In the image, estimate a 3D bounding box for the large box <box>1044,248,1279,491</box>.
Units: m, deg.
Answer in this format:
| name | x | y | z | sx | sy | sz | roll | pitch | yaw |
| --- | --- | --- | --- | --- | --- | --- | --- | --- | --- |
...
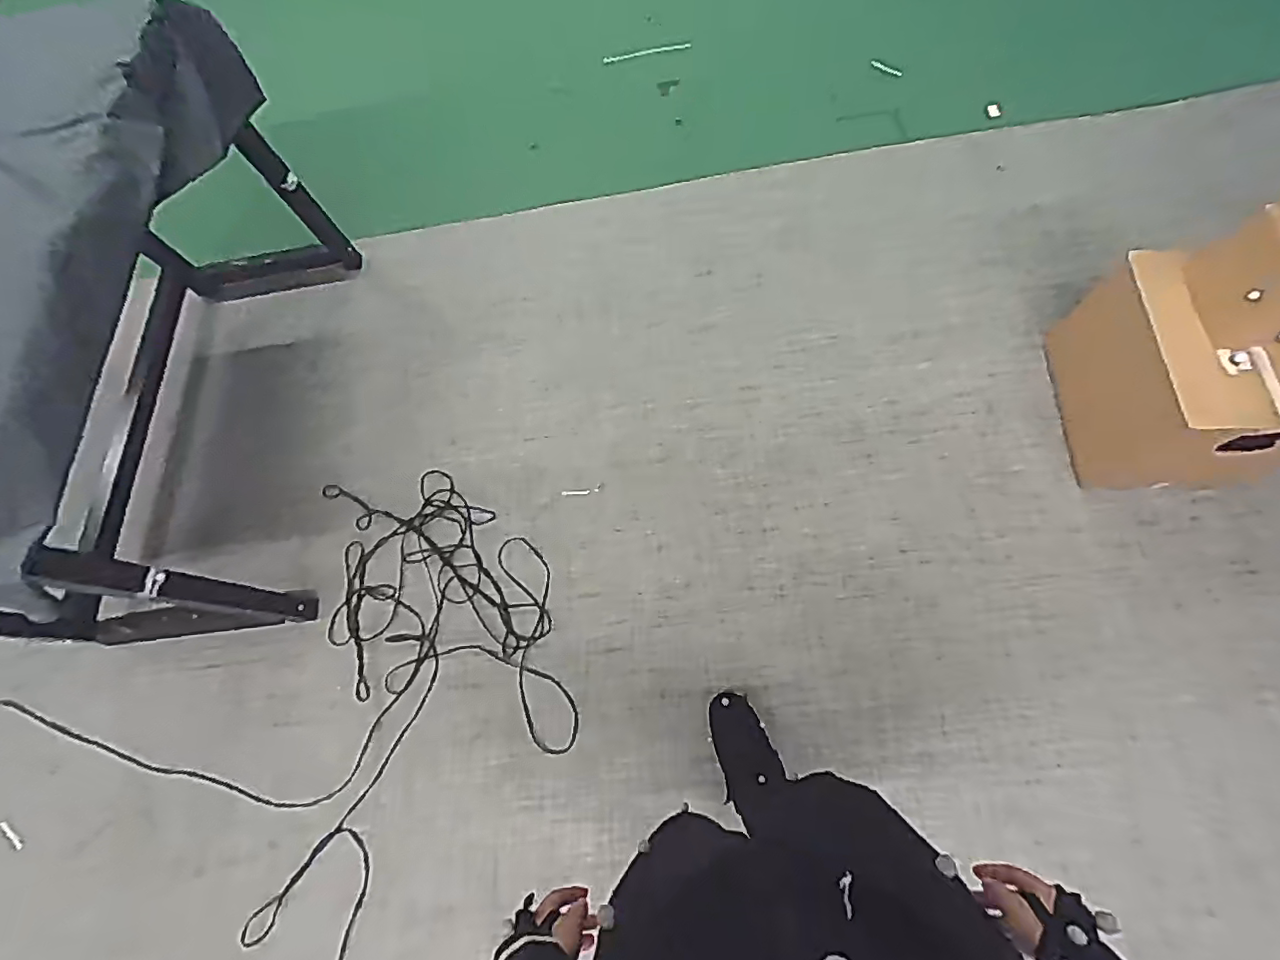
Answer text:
| name | x | y | z | sx | sy | sz | roll | pitch | yaw |
| --- | --- | --- | --- | --- | --- | --- | --- | --- | --- |
| large box | 1.145 | -0.214 | 1.143 | 0.320 | 0.320 | 0.408 | -2 | 70 | 9 |
